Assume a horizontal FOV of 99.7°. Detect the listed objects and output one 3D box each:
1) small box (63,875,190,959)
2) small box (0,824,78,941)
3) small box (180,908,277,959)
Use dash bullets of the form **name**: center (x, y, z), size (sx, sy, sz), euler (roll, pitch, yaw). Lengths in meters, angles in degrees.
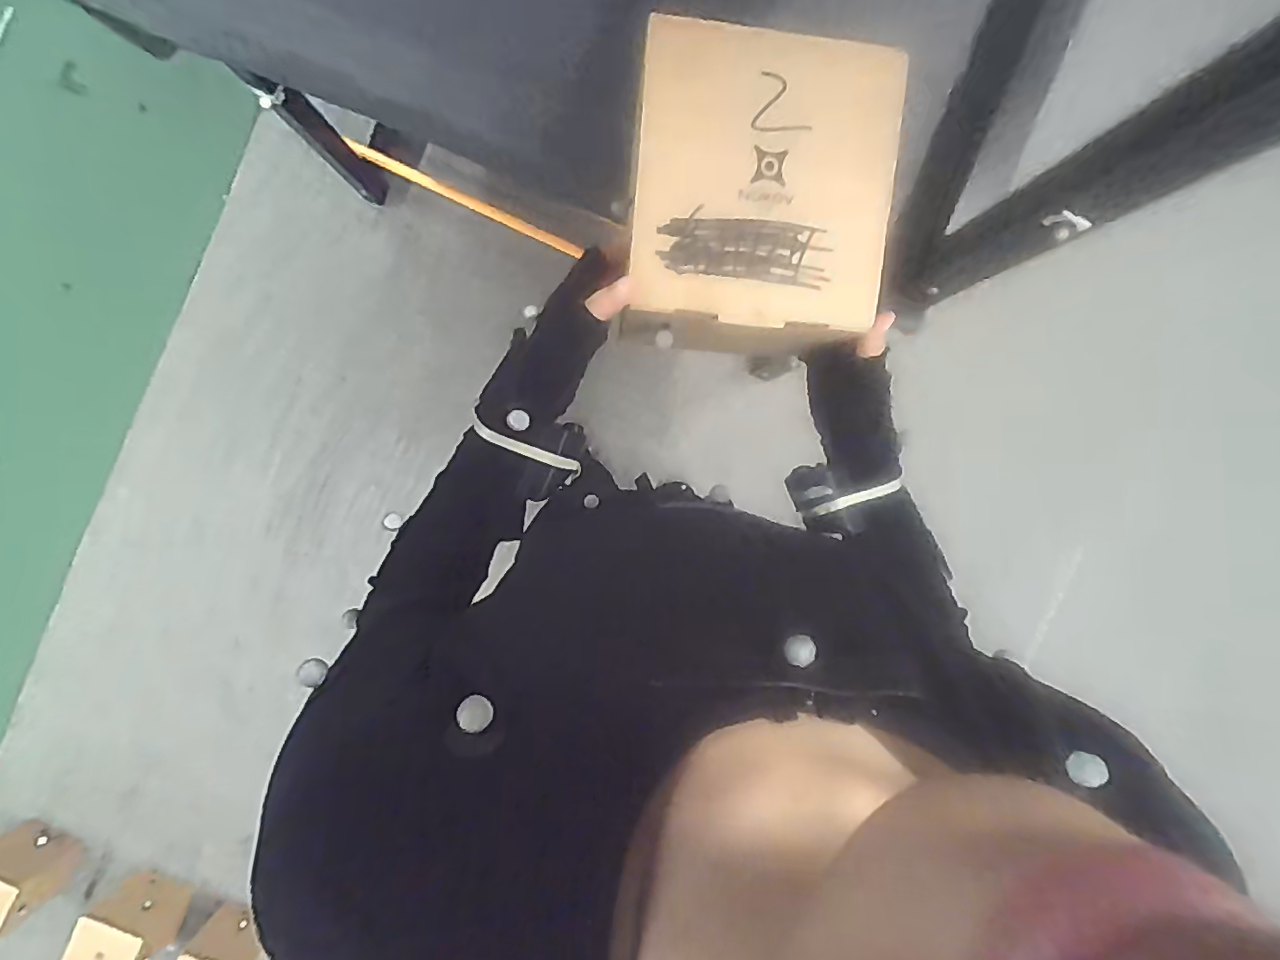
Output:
- **small box**: center (-1.331, 1.183, 1.403), size (0.168, 0.176, 0.179), euler (24, 92, -3)
- **small box**: center (-1.624, 1.041, 1.388), size (0.168, 0.176, 0.179), euler (28, 90, -3)
- **small box**: center (-1.097, 1.287, 1.411), size (0.168, 0.176, 0.179), euler (25, 91, -3)
